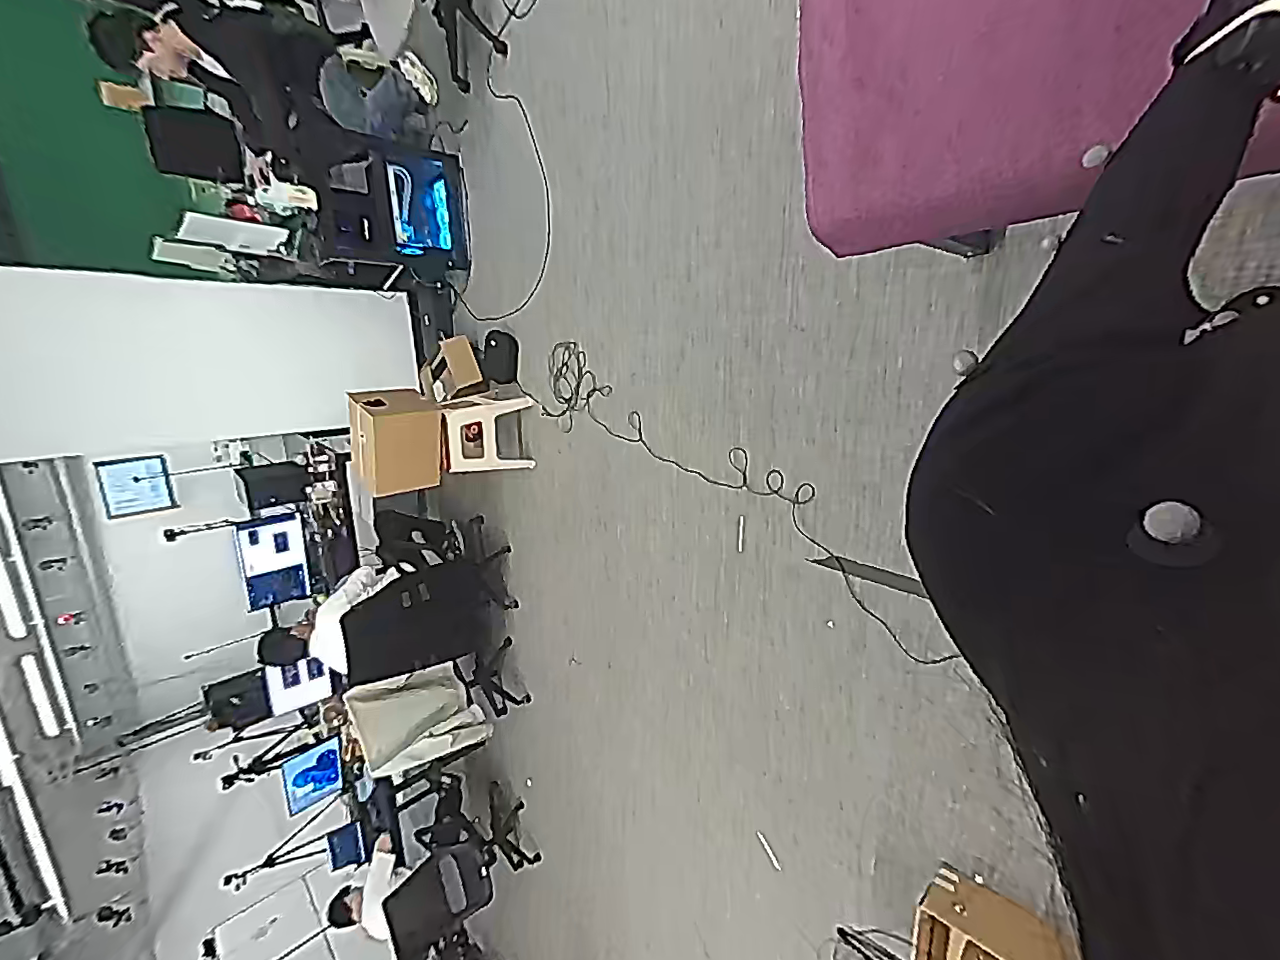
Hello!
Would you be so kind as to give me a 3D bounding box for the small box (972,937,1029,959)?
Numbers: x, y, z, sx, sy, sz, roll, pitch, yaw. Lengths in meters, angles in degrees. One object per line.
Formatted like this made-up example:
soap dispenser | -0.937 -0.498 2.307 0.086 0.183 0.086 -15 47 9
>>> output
small box | 0.989 1.394 1.453 0.179 0.176 0.168 8 107 44
